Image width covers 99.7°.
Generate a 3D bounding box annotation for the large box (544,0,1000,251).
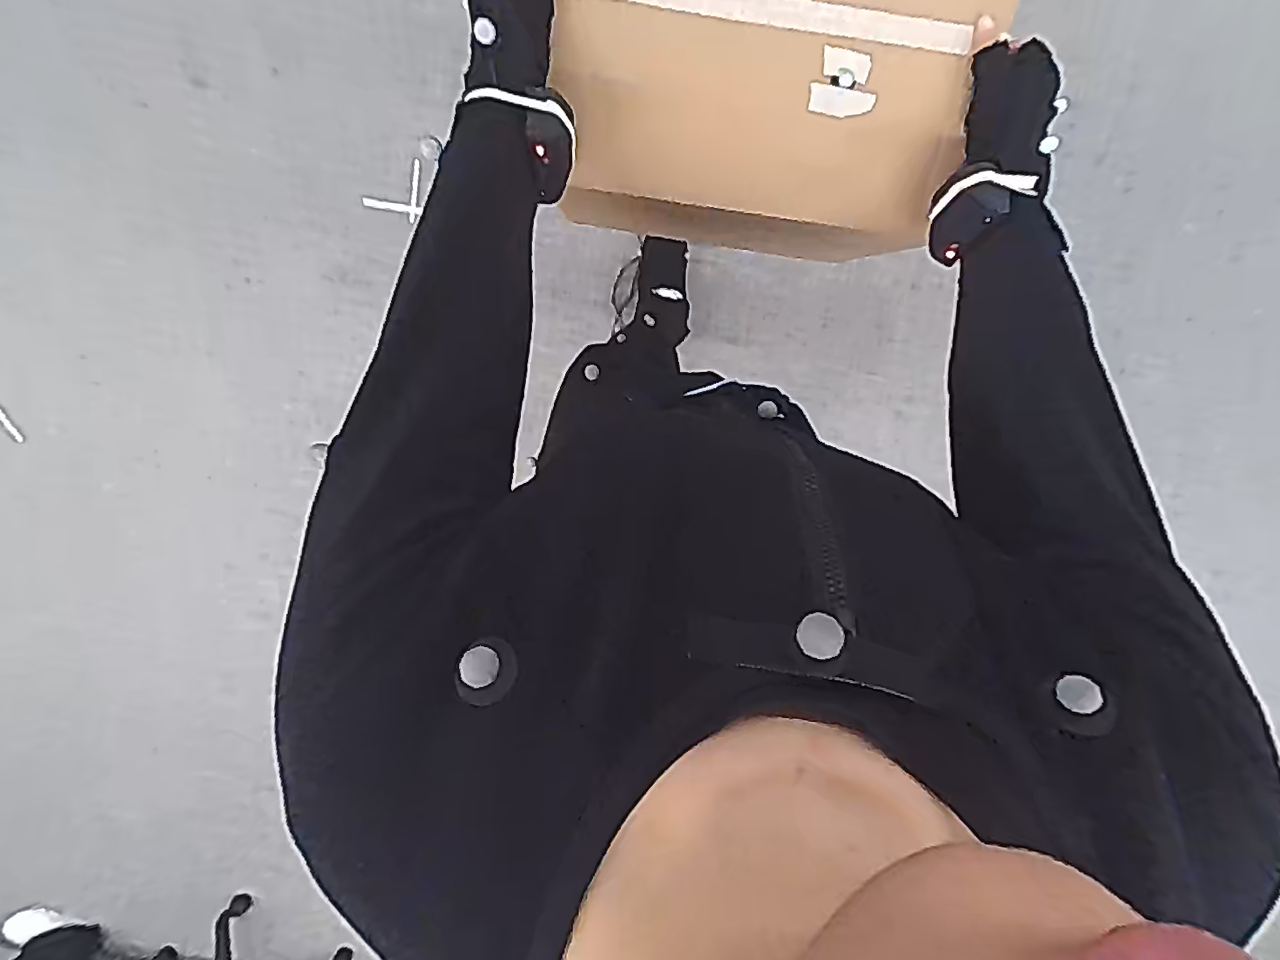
[{"bbox_3d":[0.114,-0.462,0.624,0.408,0.320,0.320,6,110,-4],"label":"large box"}]
